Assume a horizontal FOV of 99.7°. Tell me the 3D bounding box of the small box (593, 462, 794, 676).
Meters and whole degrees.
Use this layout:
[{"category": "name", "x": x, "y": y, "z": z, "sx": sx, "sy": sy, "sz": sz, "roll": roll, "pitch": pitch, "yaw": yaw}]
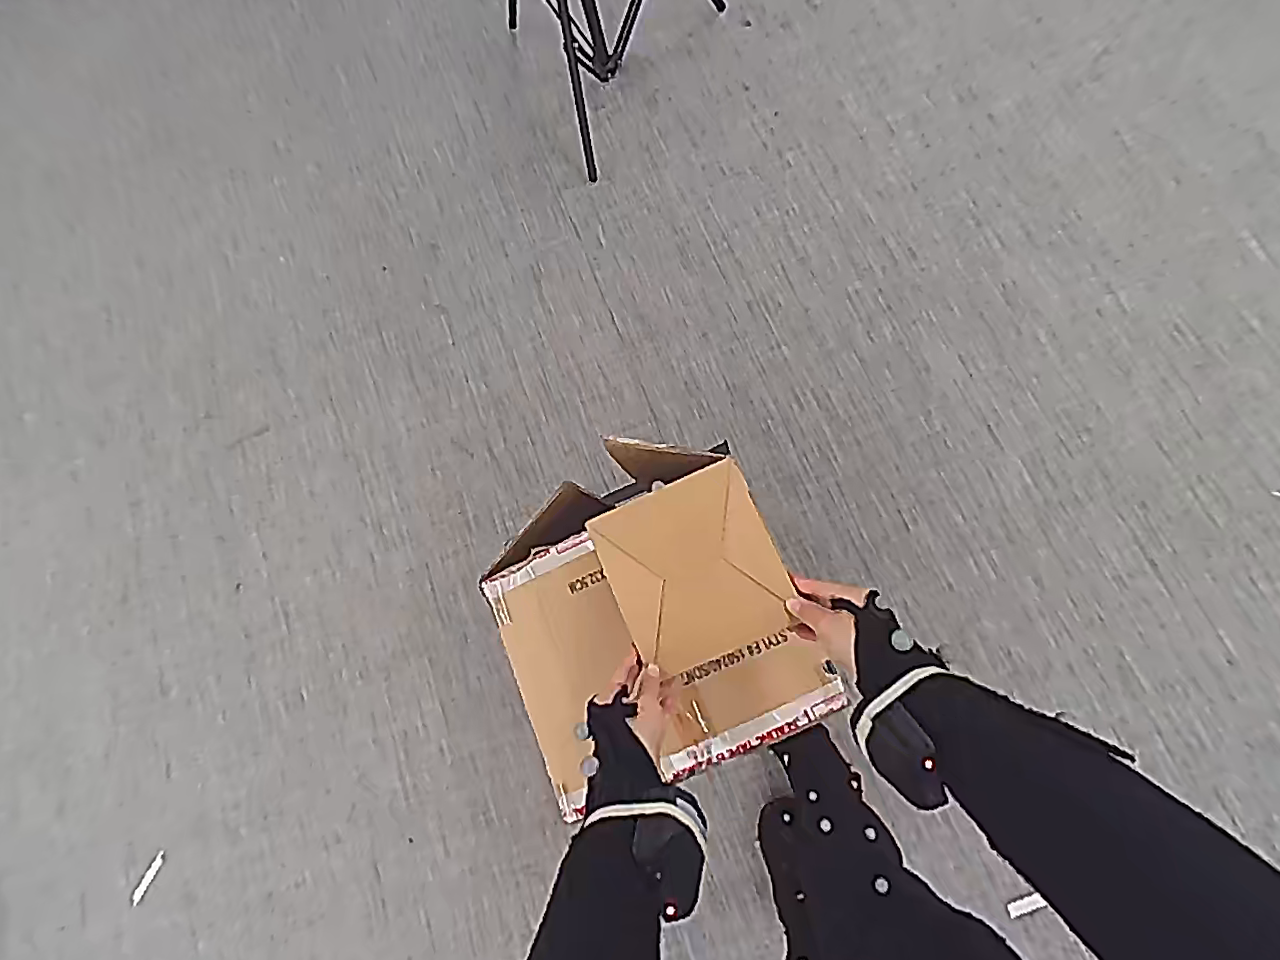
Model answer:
[{"category": "small box", "x": 0.061, "y": 0.099, "z": 0.613, "sx": 0.168, "sy": 0.176, "sz": 0.179, "roll": -25, "pitch": 80, "yaw": 3}]
